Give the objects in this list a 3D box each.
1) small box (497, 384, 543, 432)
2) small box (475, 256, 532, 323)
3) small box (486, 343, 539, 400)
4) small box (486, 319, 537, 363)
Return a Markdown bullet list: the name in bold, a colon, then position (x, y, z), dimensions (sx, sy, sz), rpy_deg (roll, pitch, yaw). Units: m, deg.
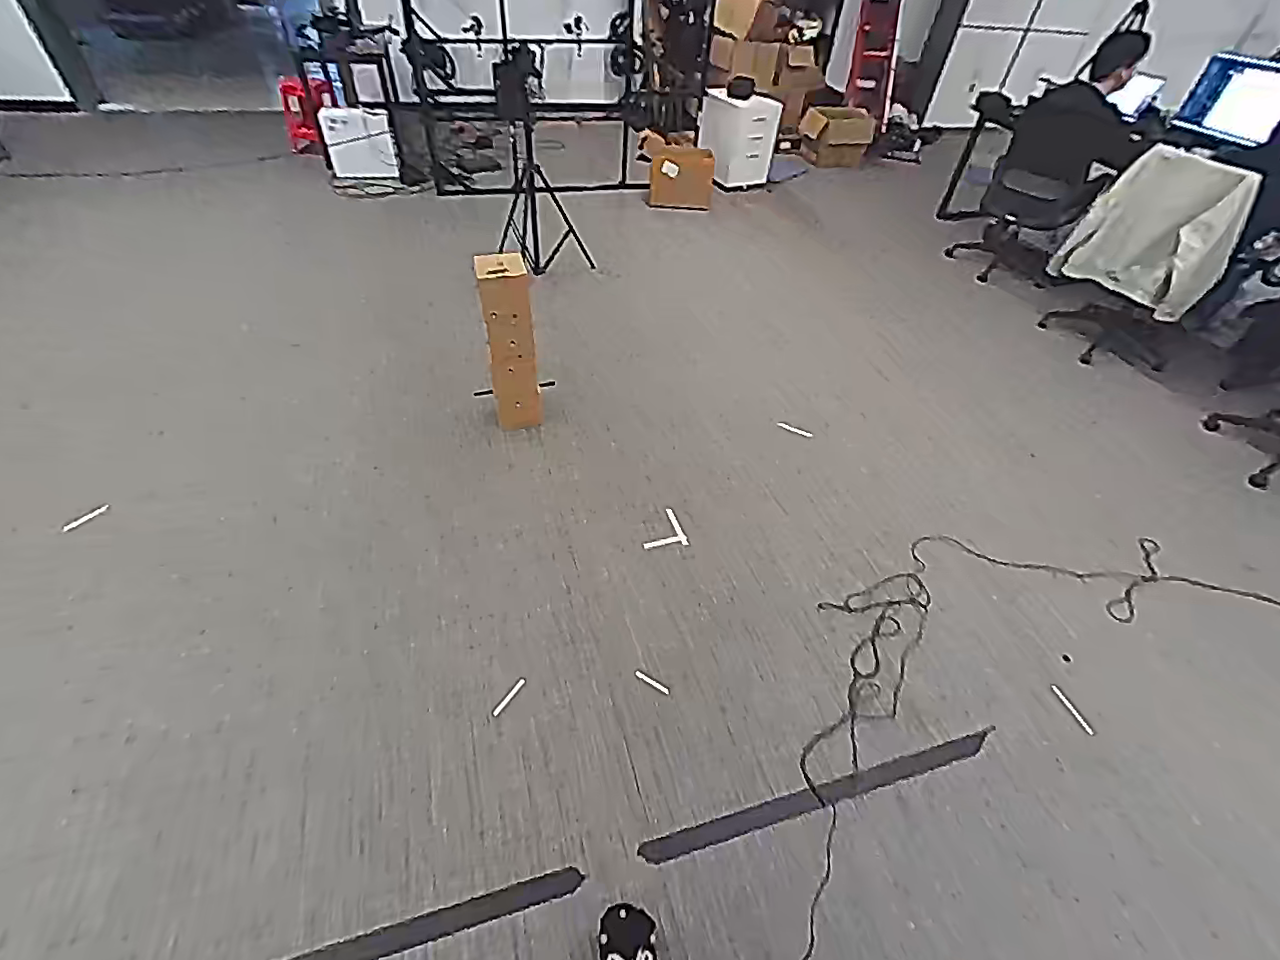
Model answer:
- **small box**: position (-0.503, -0.321, 2.252), dimensions (0.179, 0.176, 0.168), rpy_deg (-10, 48, -14)
- **small box**: position (-0.477, -0.663, 1.898), dimensions (0.168, 0.176, 0.179), rpy_deg (-10, 47, -13)
- **small box**: position (-0.500, -0.432, 2.130), dimensions (0.179, 0.176, 0.168), rpy_deg (-9, 48, -12)
- **small box**: position (-0.483, -0.548, 2.016), dimensions (0.168, 0.176, 0.179), rpy_deg (-9, 48, -13)
